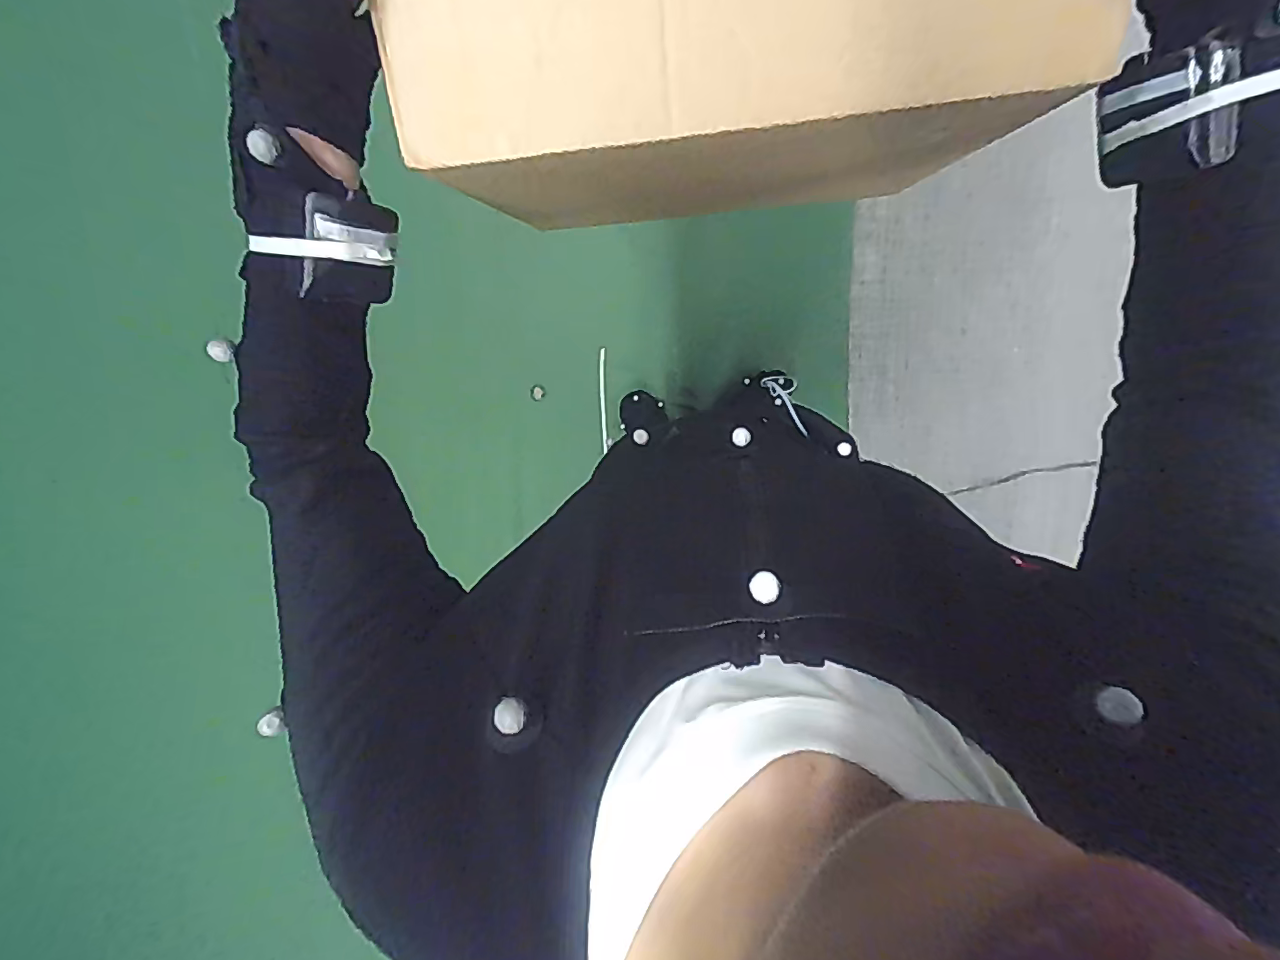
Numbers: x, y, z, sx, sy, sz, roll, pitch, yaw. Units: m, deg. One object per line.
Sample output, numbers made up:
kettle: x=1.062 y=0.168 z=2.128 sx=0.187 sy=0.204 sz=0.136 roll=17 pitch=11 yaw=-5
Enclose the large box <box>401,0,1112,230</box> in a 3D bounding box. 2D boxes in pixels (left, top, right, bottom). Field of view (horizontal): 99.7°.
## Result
large box: x=0.060 y=-0.404 z=0.422 sx=0.408 sy=0.320 sz=0.320 roll=-3 pitch=108 yaw=6
